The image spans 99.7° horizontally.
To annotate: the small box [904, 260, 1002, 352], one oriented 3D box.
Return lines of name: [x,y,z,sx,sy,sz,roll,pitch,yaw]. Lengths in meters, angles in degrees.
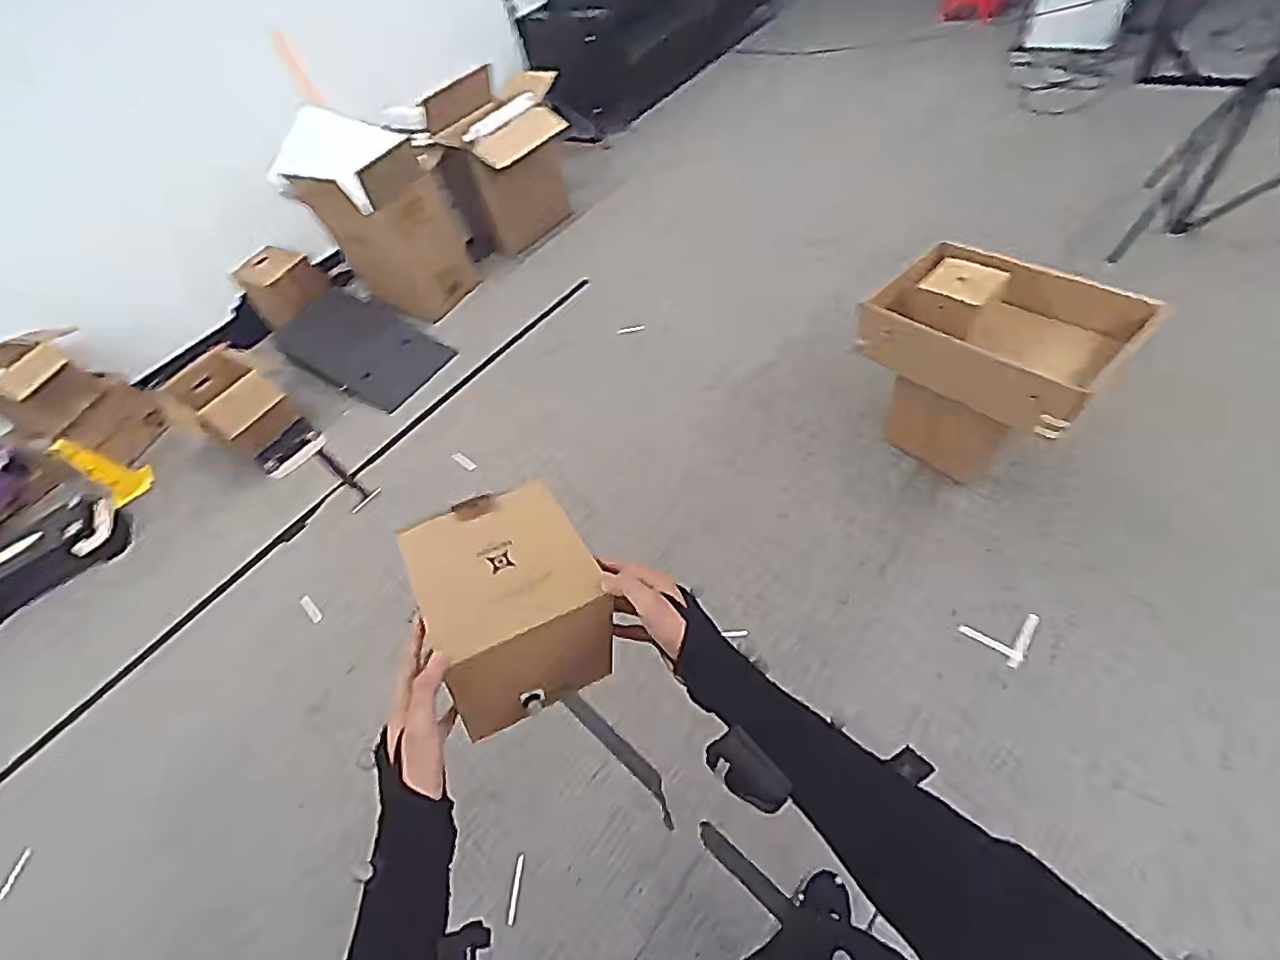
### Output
small box: [0.897,-0.502,1.569,0.168,0.176,0.179,-42,55,-17]
